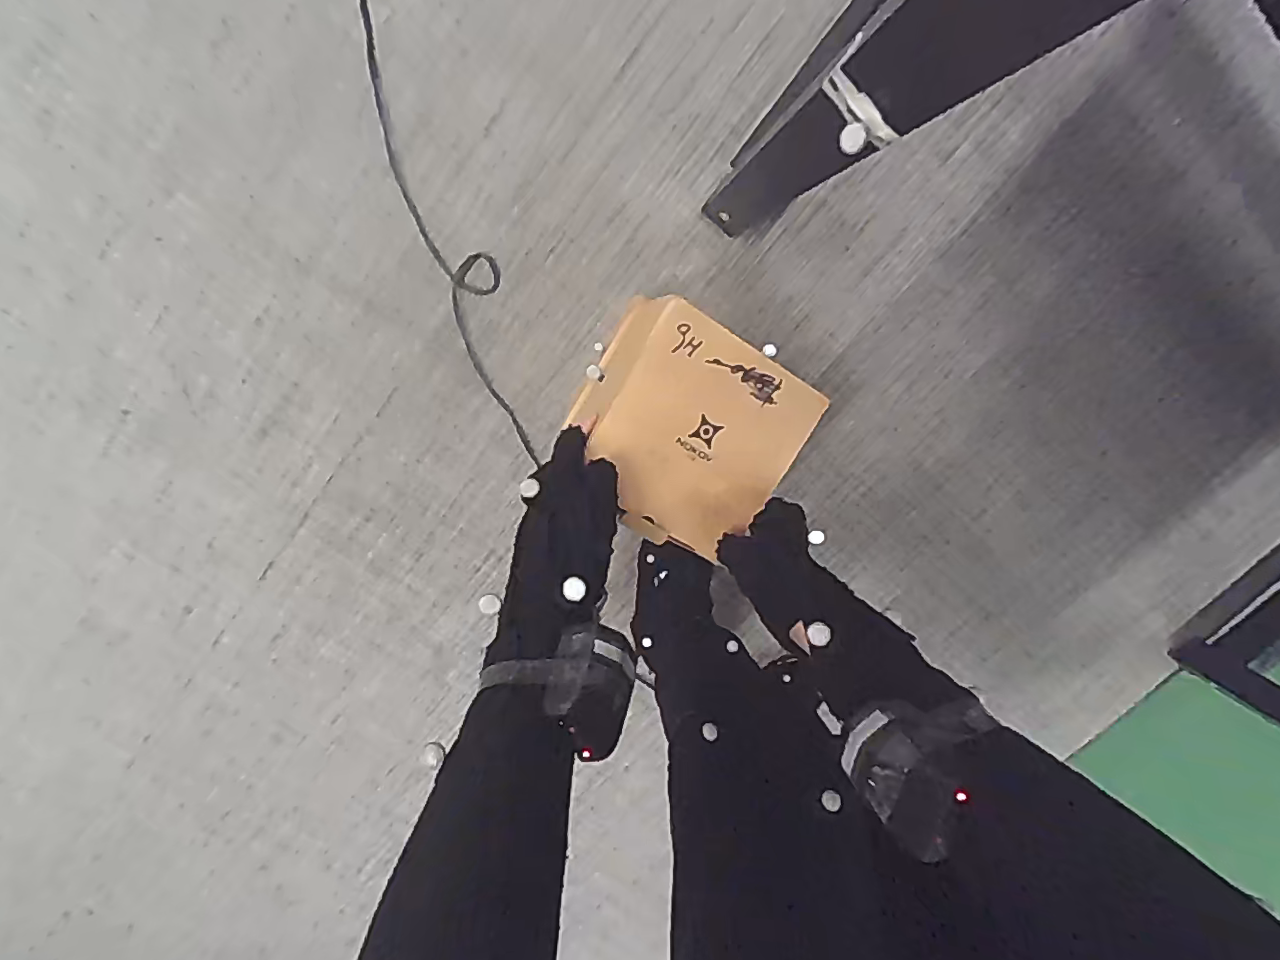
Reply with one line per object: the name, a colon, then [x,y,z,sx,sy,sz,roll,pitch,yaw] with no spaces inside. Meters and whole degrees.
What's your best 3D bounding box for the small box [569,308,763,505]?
small box: [0.024,-0.102,0.696,0.168,0.176,0.179,30,104,-11]
